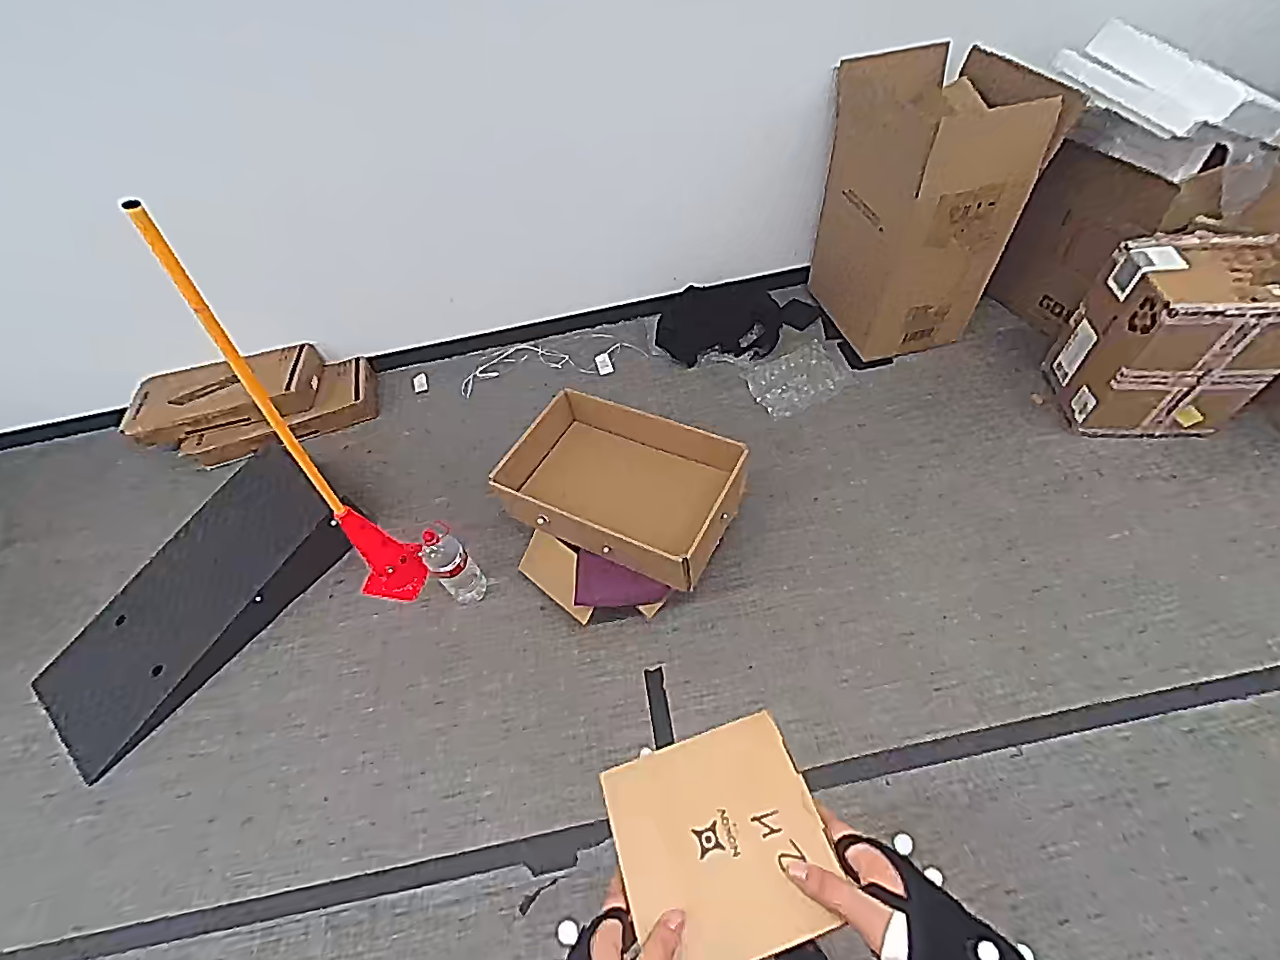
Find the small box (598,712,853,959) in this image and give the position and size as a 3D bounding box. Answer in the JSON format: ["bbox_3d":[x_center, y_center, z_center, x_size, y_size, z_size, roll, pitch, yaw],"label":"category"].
[{"bbox_3d":[0.076,0.358,0.522,0.179,0.176,0.168,-18,49,-5],"label":"small box"}]
